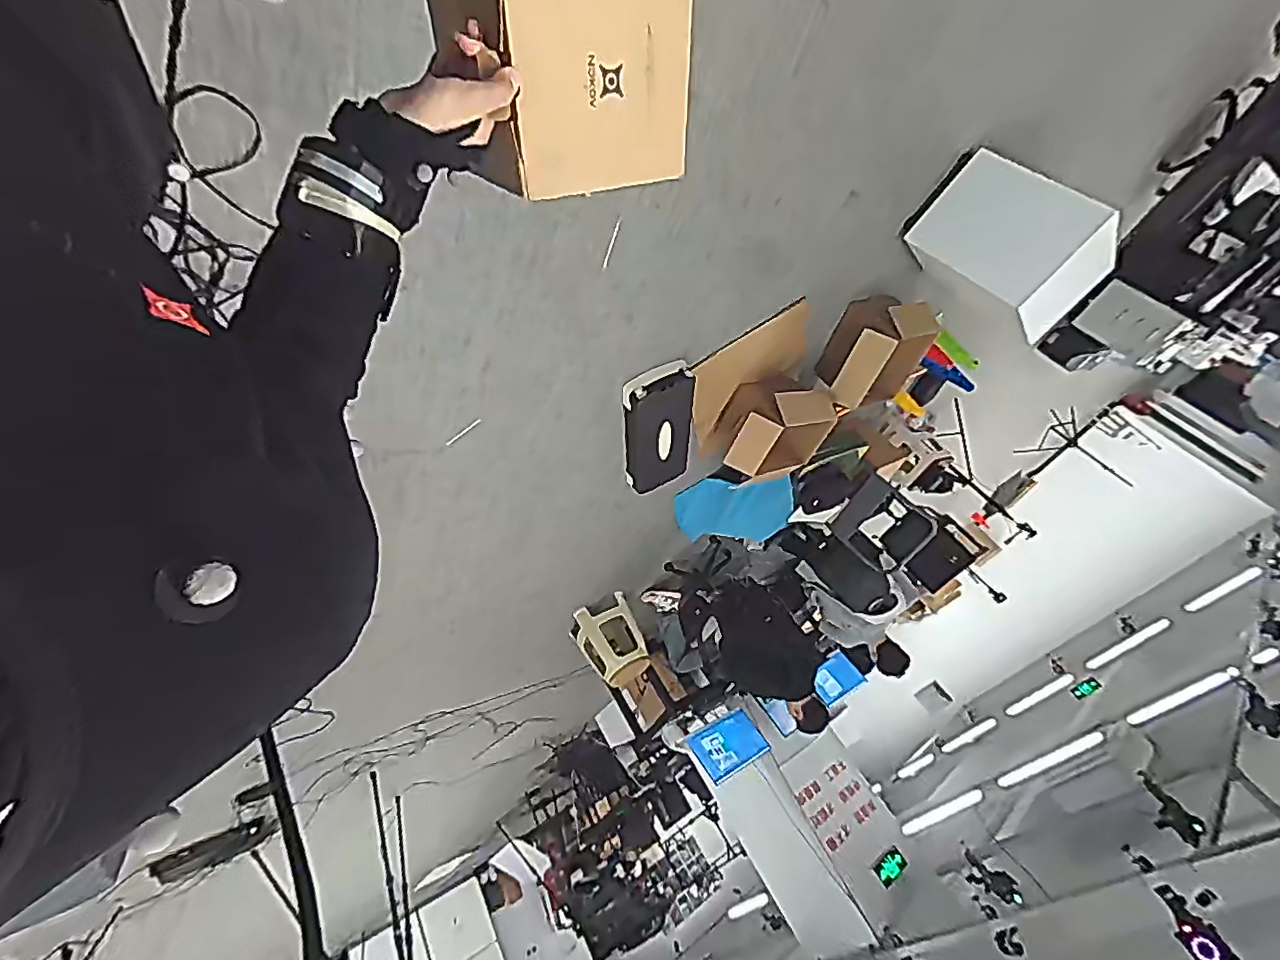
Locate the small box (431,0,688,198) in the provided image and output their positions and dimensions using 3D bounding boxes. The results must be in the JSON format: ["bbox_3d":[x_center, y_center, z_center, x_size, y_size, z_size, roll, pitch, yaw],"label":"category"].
[{"bbox_3d":[-0.076,-0.379,0.503,0.179,0.176,0.168,-25,138,-26],"label":"small box"}]
